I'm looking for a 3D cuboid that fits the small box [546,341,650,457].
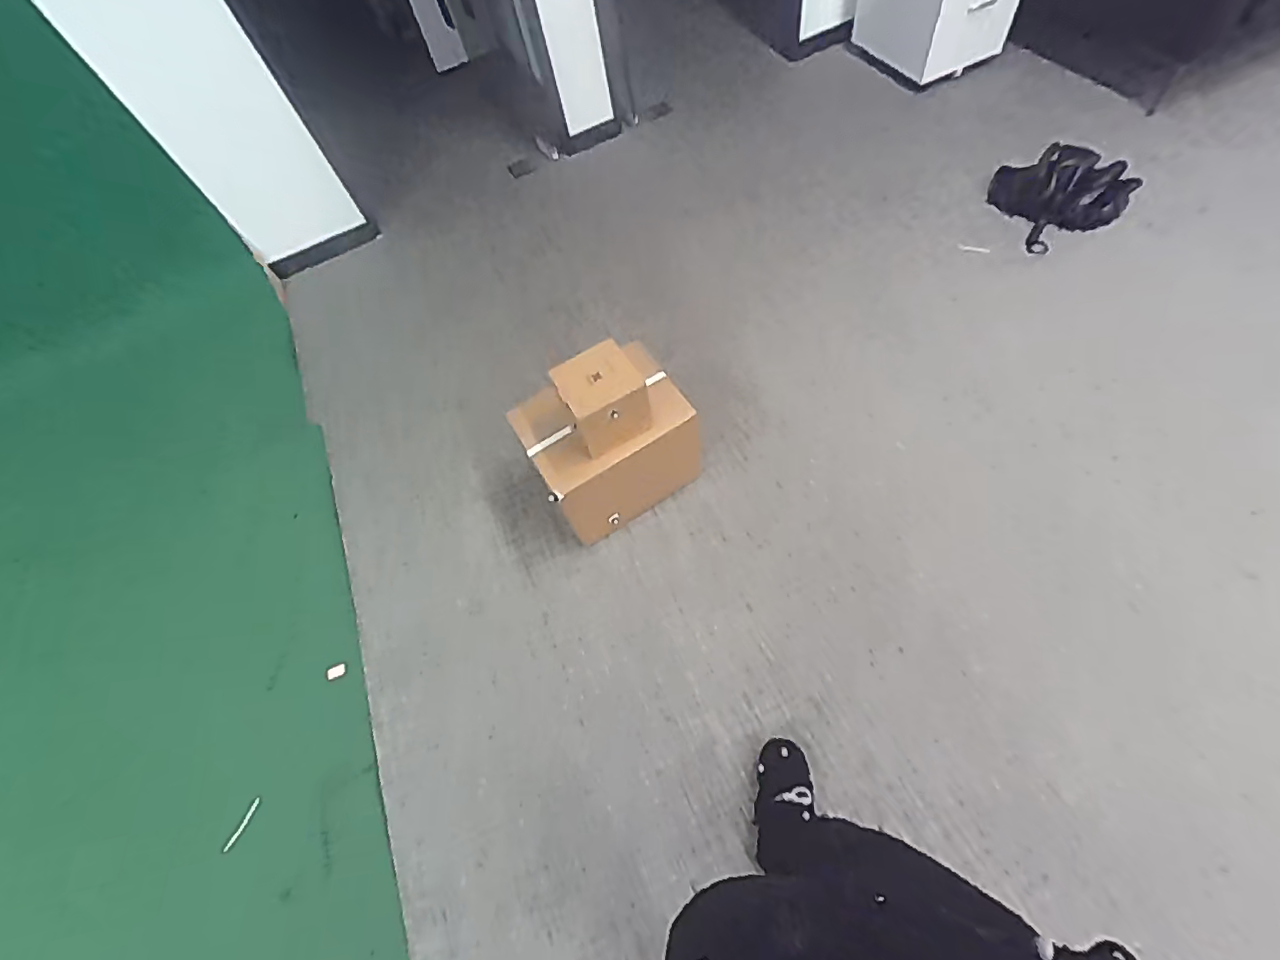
[{"bbox_3d":[-0.092,-0.184,1.272,0.179,0.176,0.168,-29,62,-9],"label":"small box"}]
